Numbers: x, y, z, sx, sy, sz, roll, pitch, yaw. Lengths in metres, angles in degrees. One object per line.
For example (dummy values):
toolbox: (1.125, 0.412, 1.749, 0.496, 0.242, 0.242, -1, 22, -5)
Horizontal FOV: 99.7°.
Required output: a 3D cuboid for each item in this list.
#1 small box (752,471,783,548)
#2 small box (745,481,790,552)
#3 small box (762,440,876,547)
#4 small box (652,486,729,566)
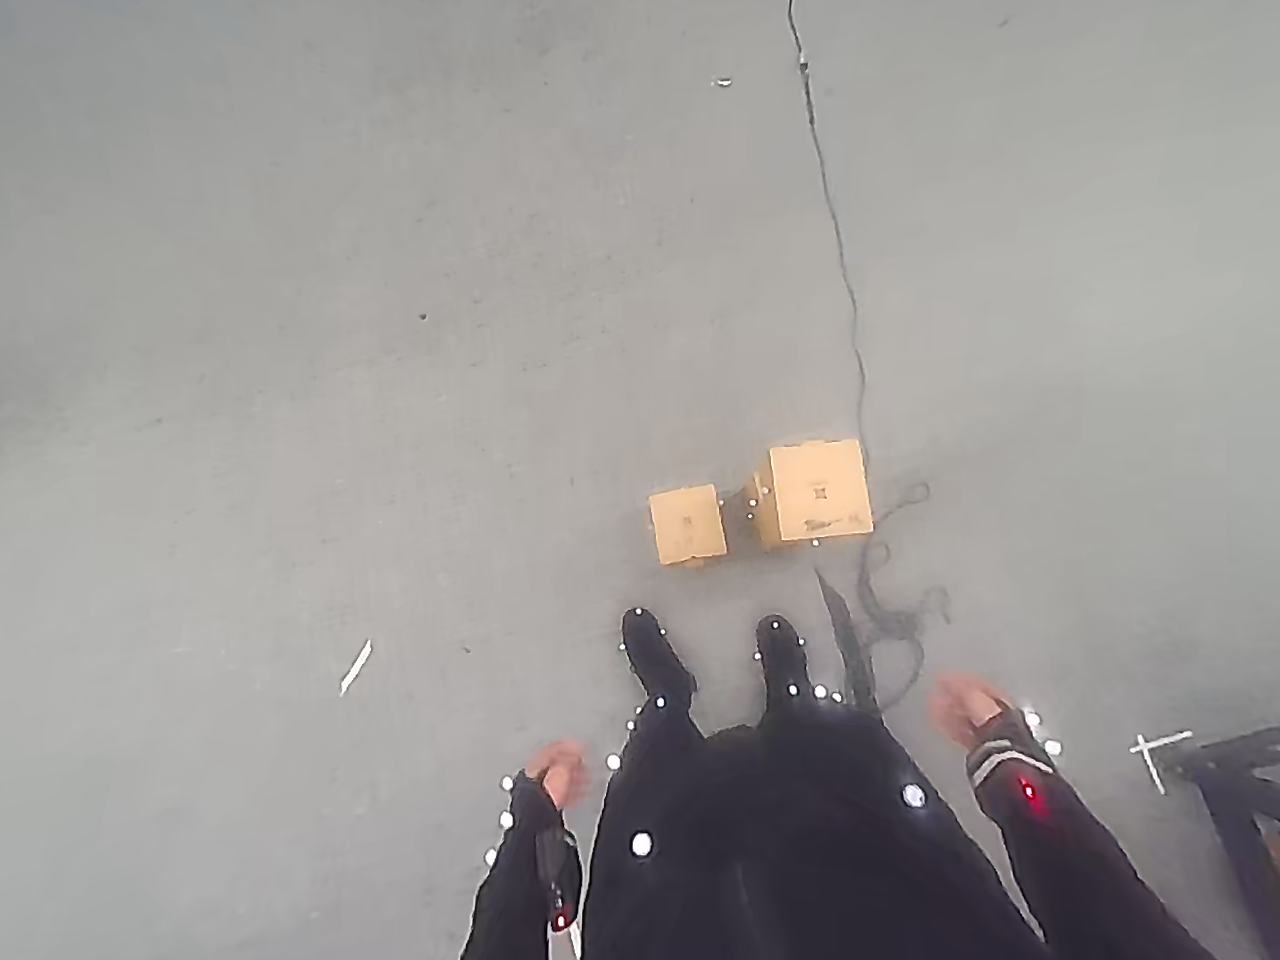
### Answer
small box: (0.357, 0.057, 1.222, 0.179, 0.176, 0.168, -14, 80, 4)
small box: (0.372, 0.081, 1.381, 0.168, 0.176, 0.179, -15, 80, 4)
small box: (0.339, 0.033, 1.060, 0.168, 0.176, 0.179, -6, 79, 5)
small box: (0.129, 0.124, 1.396, 0.168, 0.176, 0.179, -11, 81, 4)
